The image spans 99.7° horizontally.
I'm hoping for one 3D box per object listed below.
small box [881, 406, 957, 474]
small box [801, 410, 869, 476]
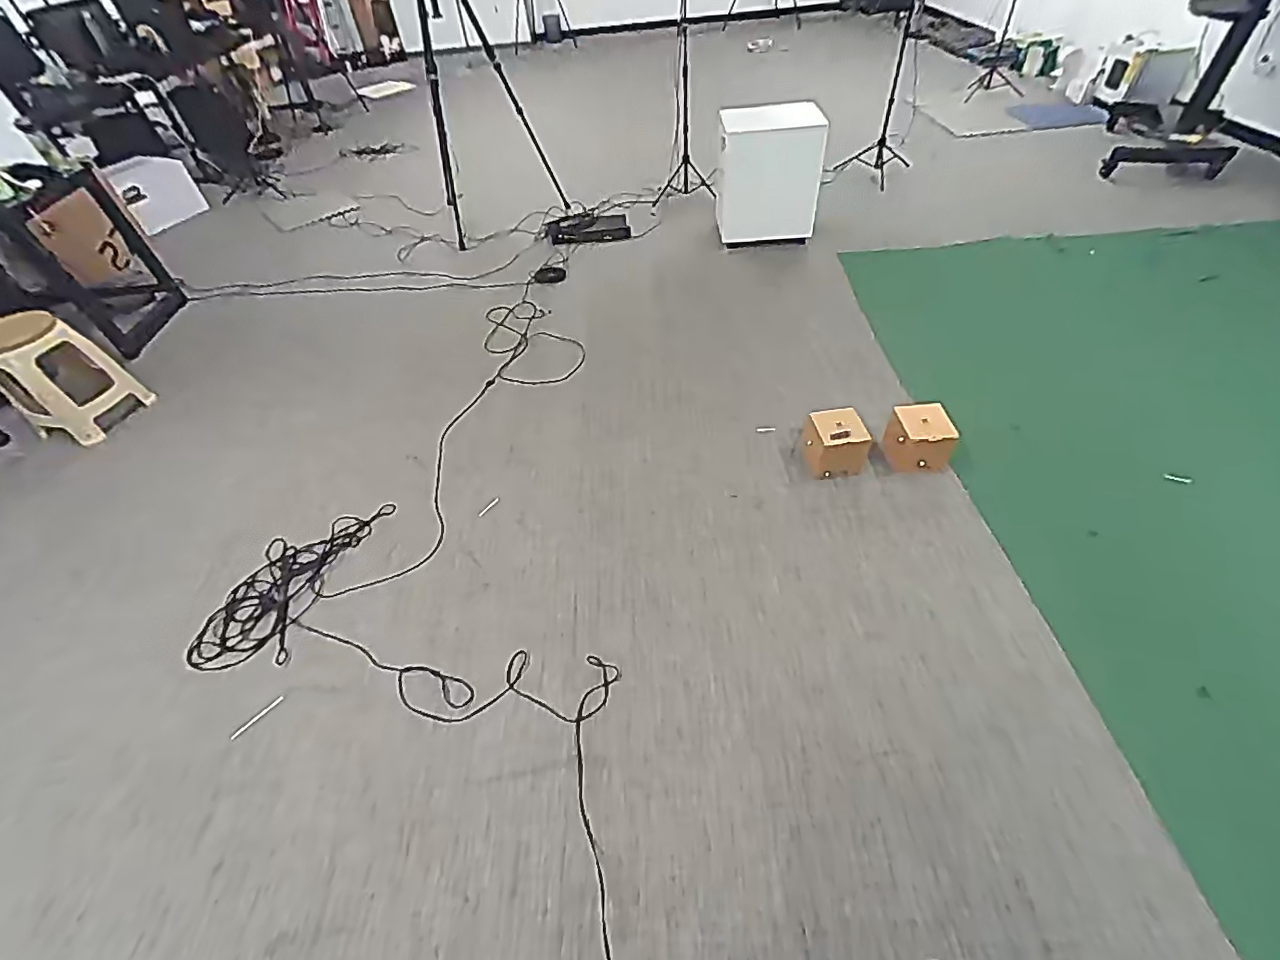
[{"bbox_3d":[0.986,-0.142,1.932,0.168,0.176,0.179,-5,48,2],"label":"small box"},{"bbox_3d":[0.694,-0.127,1.942,0.168,0.176,0.179,-7,47,-2],"label":"small box"}]
